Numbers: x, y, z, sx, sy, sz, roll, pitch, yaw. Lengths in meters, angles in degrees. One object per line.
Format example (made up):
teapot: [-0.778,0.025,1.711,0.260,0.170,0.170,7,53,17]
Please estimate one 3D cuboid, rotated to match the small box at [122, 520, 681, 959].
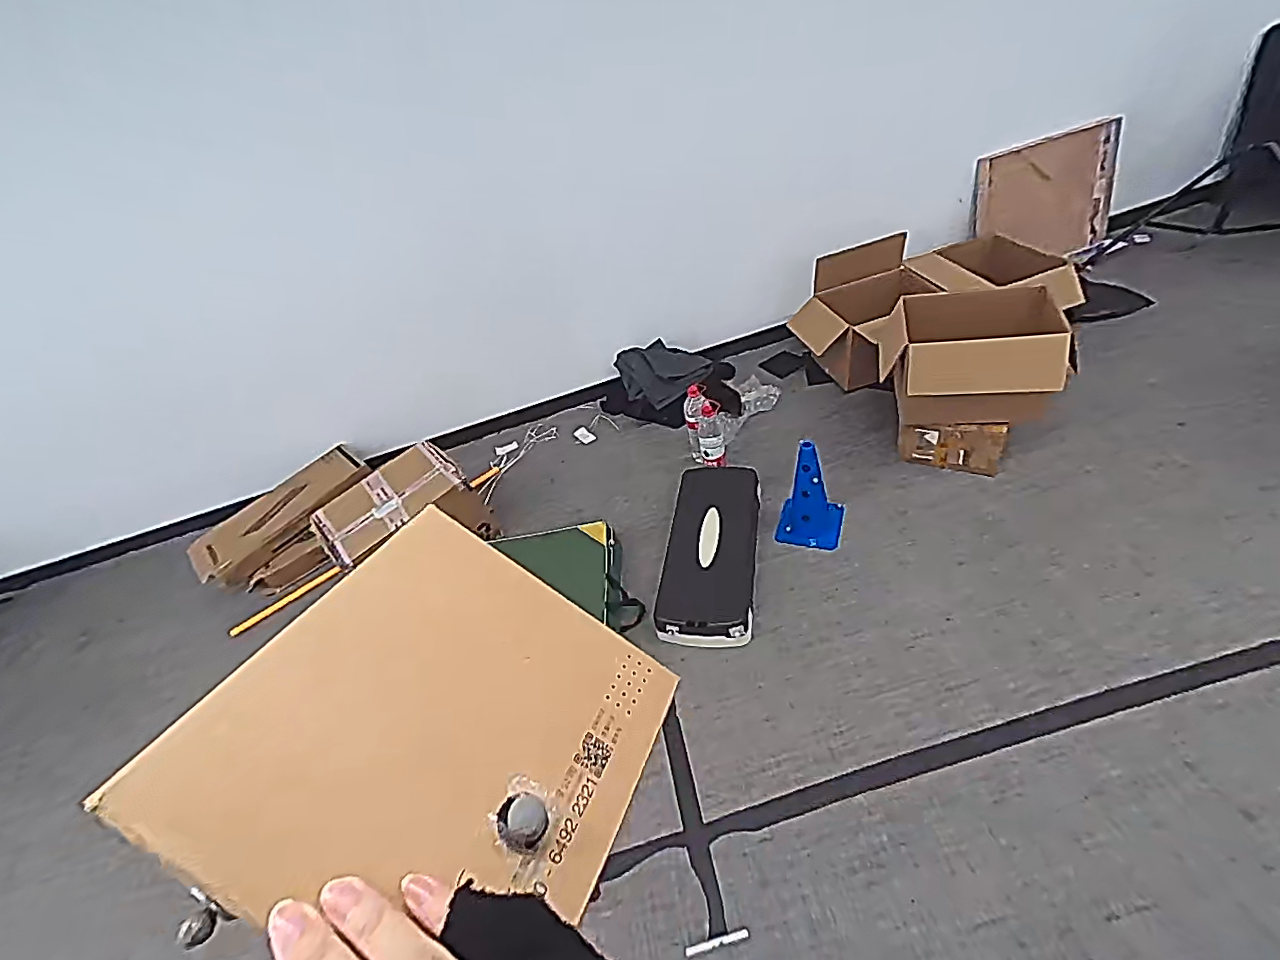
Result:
small box: [-0.106,0.163,0.291,0.176,0.179,0.168,35,42,0]
